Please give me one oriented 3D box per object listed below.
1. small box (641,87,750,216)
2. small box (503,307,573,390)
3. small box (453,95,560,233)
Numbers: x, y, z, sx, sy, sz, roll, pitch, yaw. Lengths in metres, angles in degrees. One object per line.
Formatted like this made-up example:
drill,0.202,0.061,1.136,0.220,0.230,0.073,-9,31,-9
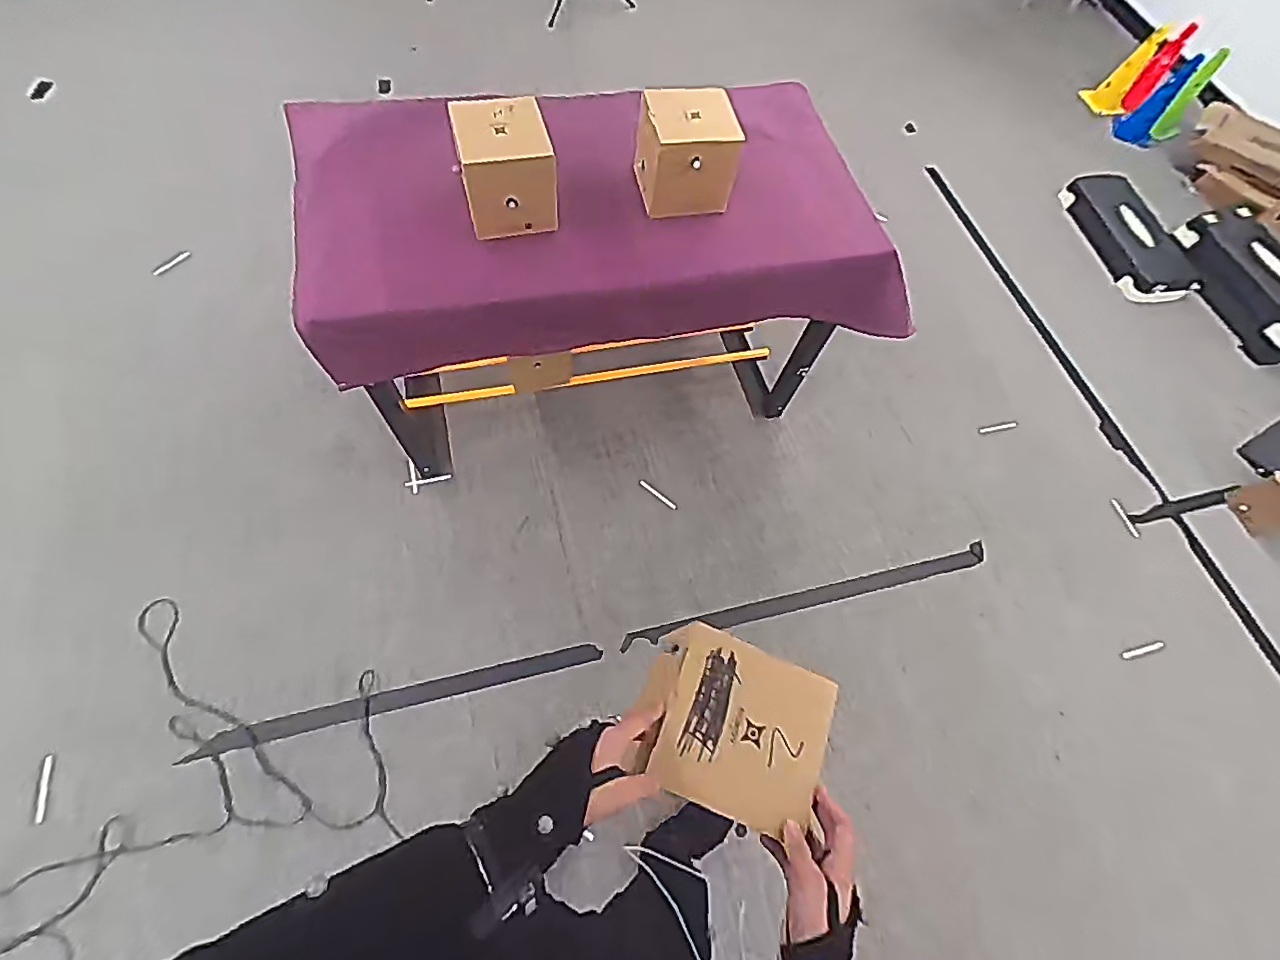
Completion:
small box,0.107,-0.678,1.127,0.179,0.176,0.168,-9,67,-9
small box,-0.303,-0.390,1.630,0.179,0.176,0.168,-13,68,-13
small box,-0.254,-0.606,1.054,0.168,0.176,0.179,-12,67,-12
